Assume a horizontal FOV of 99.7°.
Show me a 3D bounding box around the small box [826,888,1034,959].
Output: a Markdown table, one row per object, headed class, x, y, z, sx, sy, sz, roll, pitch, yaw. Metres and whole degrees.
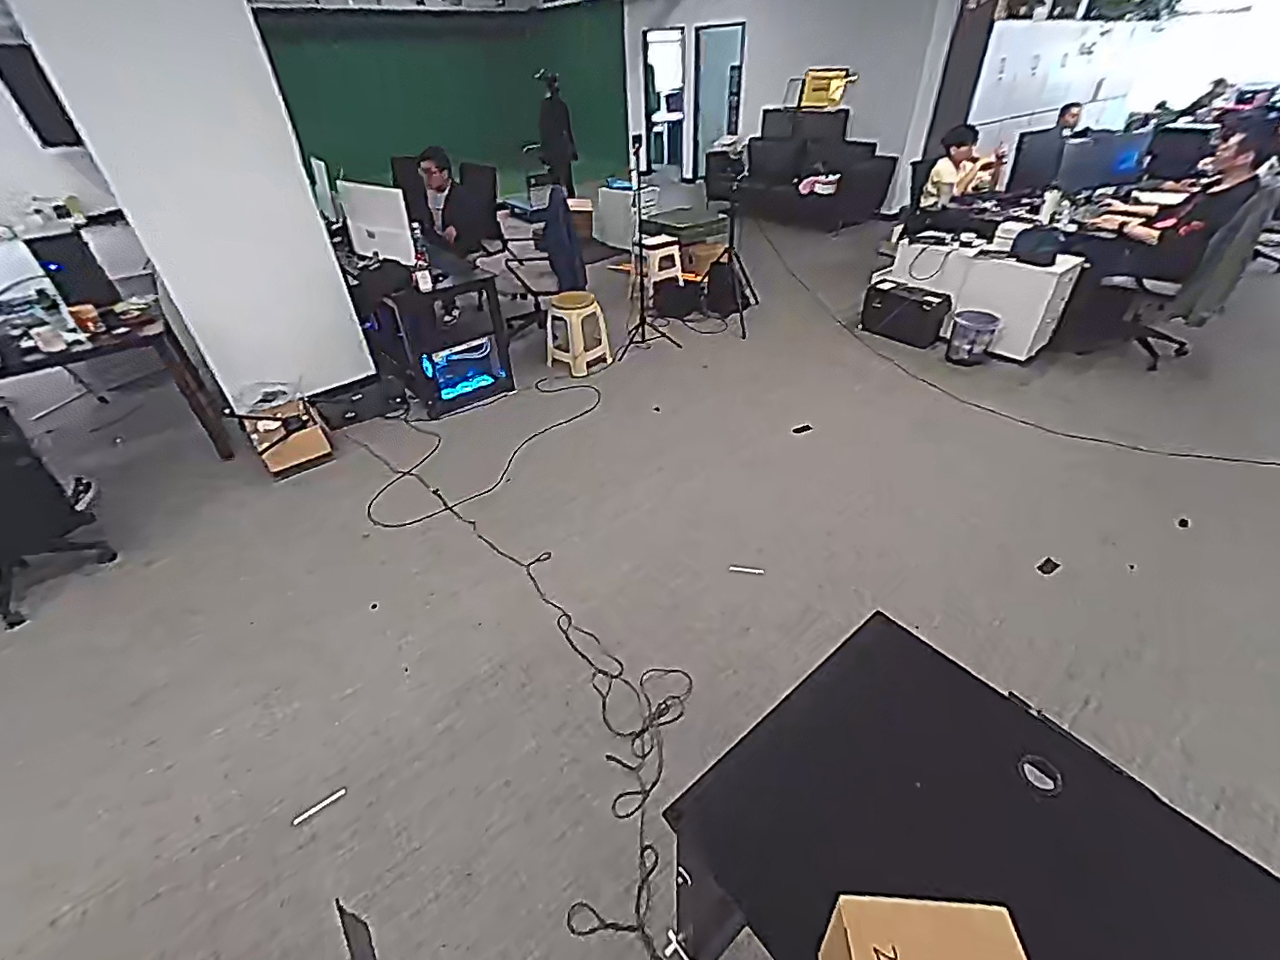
| class | x | y | z | sx | sy | sz | roll | pitch | yaw |
| --- | --- | --- | --- | --- | --- | --- | --- | --- | --- |
| small box | 0.302 | 0.555 | 0.552 | 0.179 | 0.176 | 0.168 | 0 | 31 | 6 |
